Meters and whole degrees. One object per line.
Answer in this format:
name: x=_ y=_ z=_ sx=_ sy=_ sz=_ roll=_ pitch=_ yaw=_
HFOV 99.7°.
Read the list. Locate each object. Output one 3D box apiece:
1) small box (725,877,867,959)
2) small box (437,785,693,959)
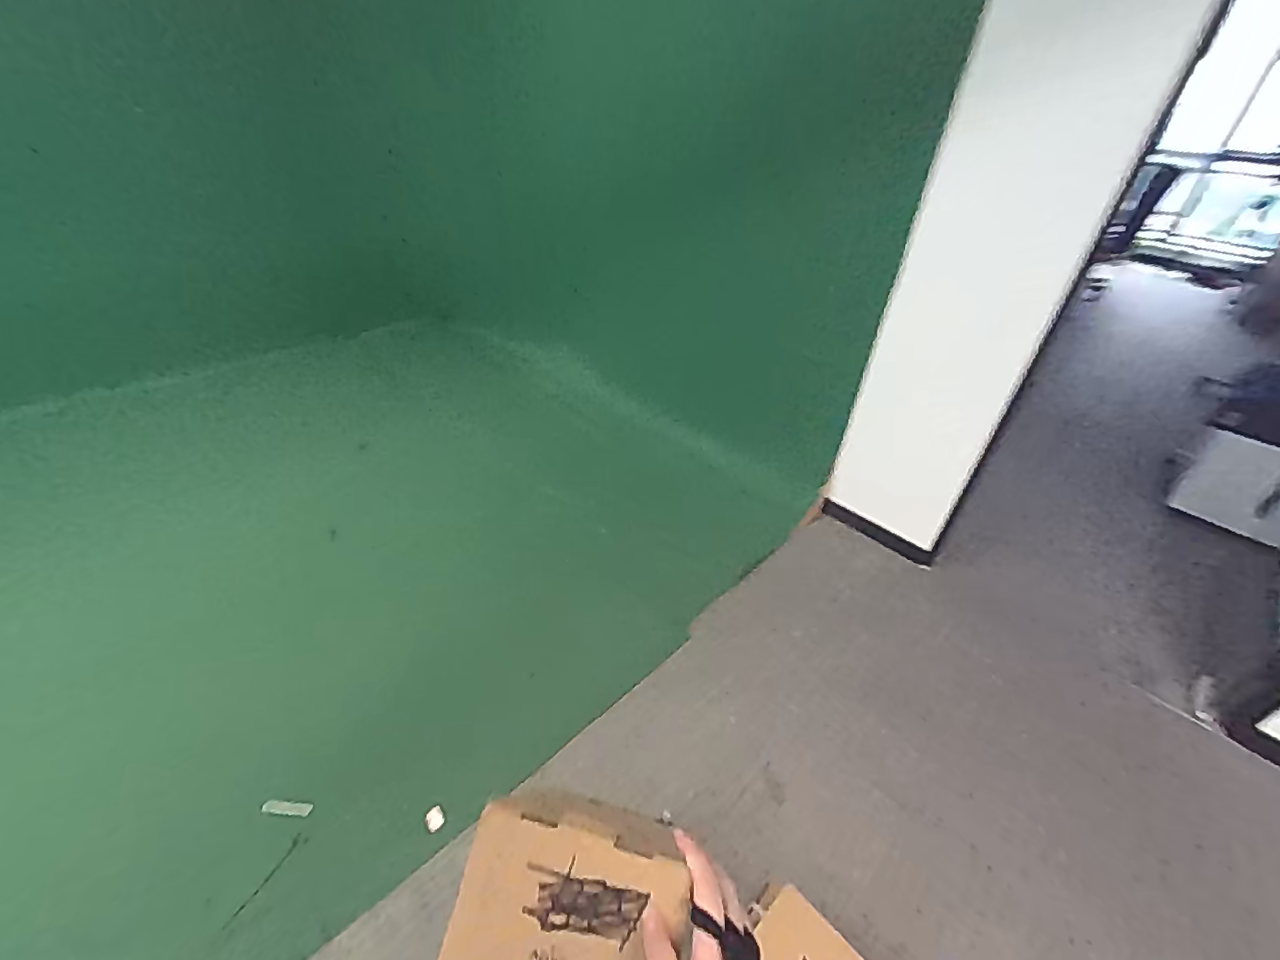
small box: x=0.236 y=0.807 z=0.872 sx=0.179 sy=0.176 sz=0.168 roll=-25 pitch=45 yaw=-37
small box: x=-0.053 y=0.369 z=0.443 sx=0.168 sy=0.176 sz=0.179 roll=9 pitch=68 yaw=11
